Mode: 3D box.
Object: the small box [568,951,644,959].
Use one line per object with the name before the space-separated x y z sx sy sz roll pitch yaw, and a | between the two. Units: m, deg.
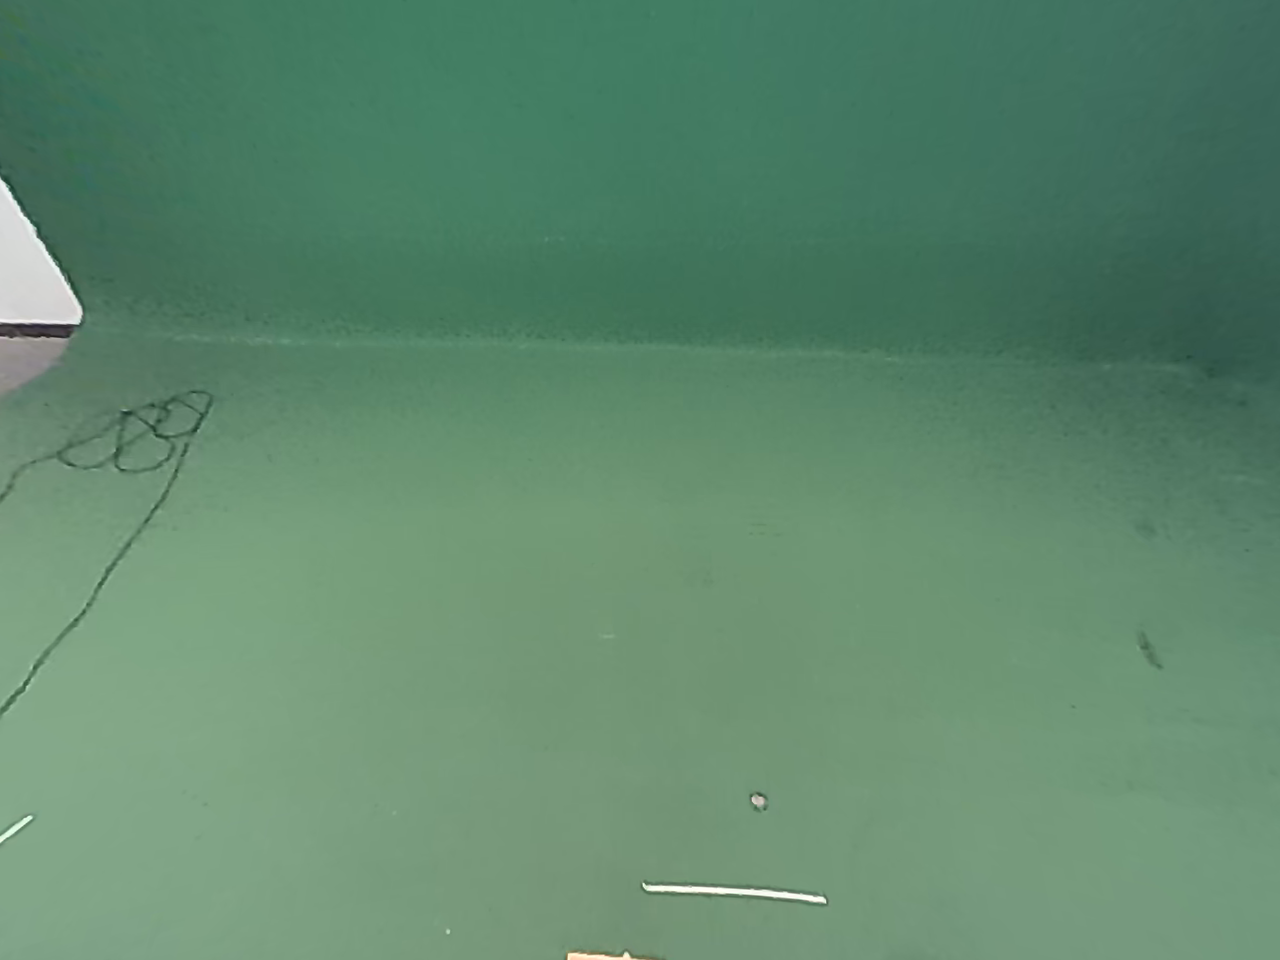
small box | -0.042 0.921 0.907 0.179 0.176 0.168 2 40 4
